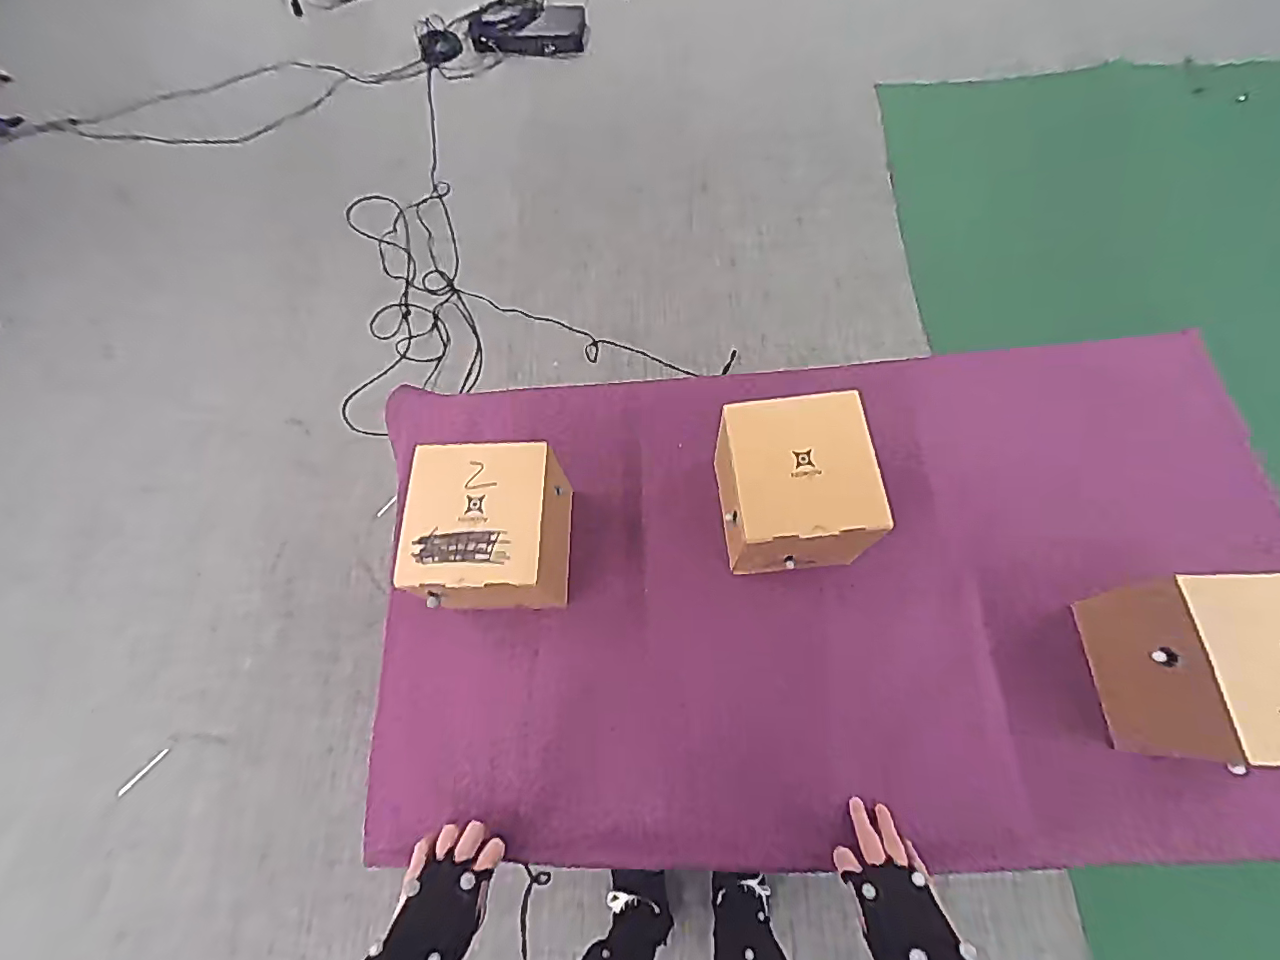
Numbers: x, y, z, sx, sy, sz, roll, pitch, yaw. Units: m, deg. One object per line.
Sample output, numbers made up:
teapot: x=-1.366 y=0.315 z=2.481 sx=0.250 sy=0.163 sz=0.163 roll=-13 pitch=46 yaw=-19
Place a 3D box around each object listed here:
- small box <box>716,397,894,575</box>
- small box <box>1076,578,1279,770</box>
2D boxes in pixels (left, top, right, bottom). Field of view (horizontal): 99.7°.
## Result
small box: x=0.195 y=0.015 z=0.698 sx=0.168 sy=0.176 sz=0.179 roll=-6 pitch=69 yaw=1
small box: x=0.630 y=0.211 z=0.589 sx=0.168 sy=0.176 sz=0.179 roll=-1 pitch=68 yaw=4
